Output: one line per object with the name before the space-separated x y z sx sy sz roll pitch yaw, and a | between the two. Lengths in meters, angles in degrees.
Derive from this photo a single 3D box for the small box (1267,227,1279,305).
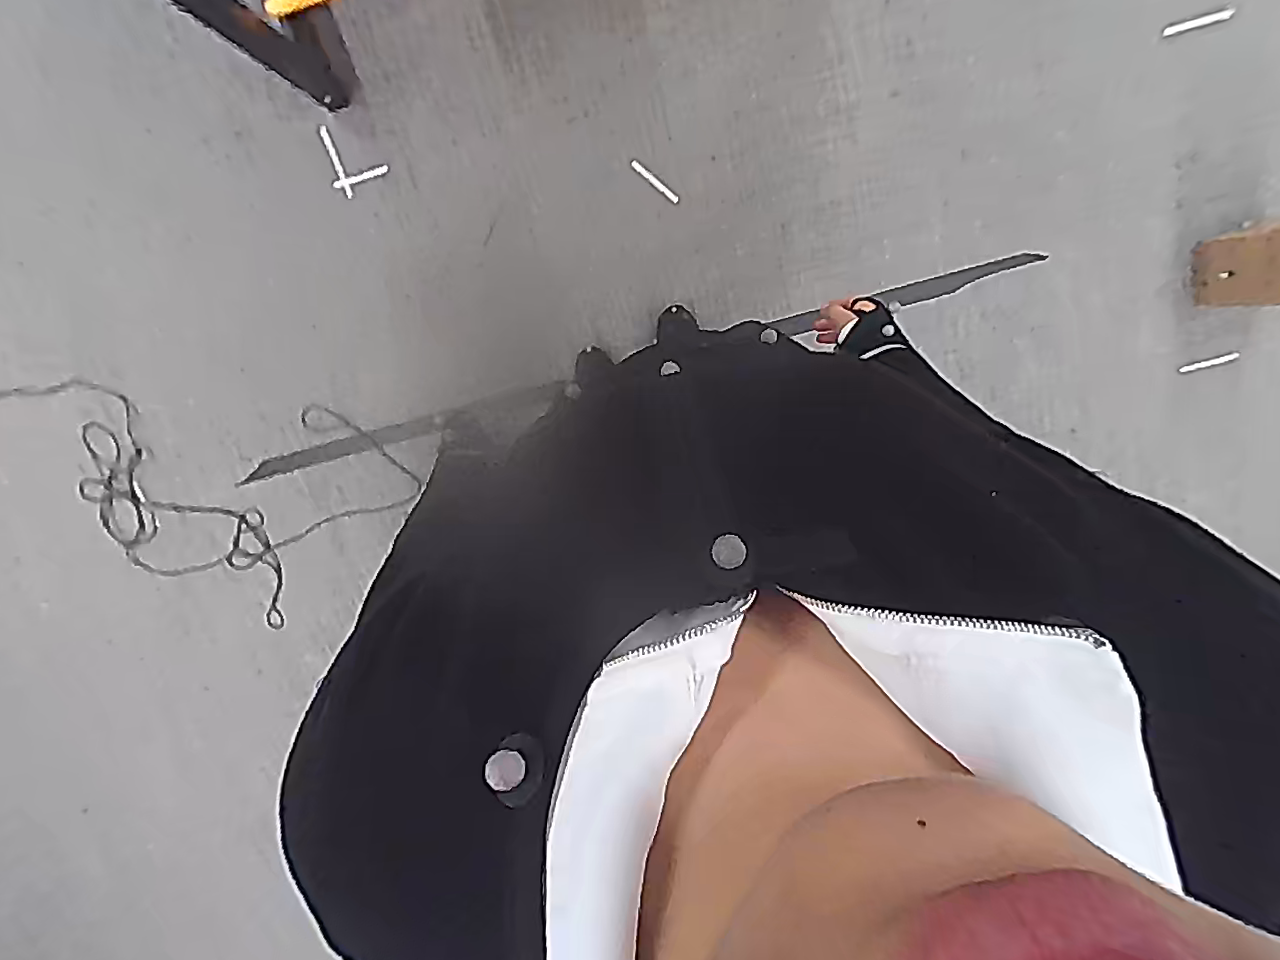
small box | 1.496 -0.478 1.139 0.168 0.176 0.179 -18 107 4

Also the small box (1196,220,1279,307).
small box | 1.498 -0.521 1.299 0.179 0.176 0.168 -18 106 5
